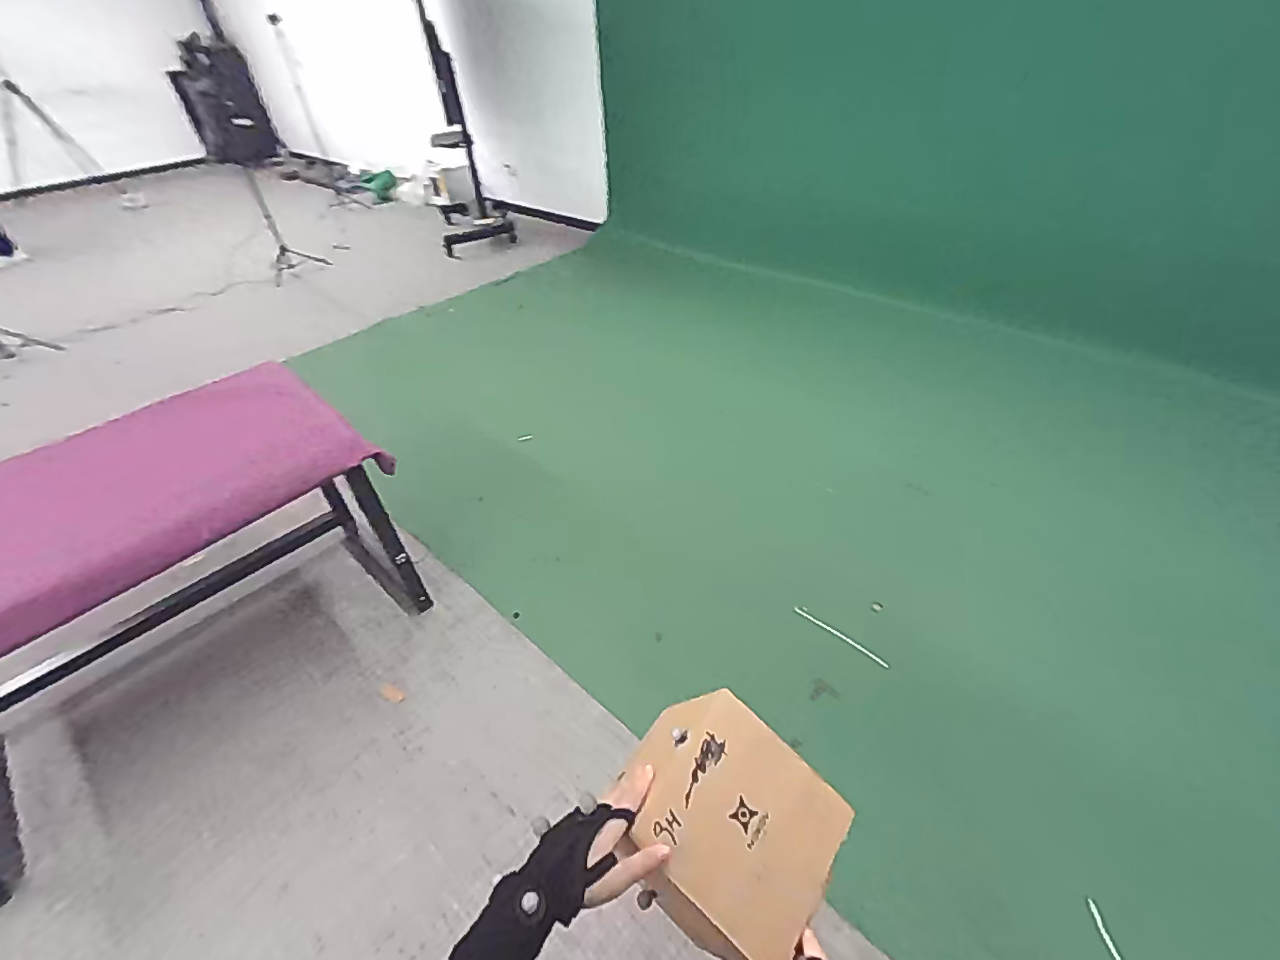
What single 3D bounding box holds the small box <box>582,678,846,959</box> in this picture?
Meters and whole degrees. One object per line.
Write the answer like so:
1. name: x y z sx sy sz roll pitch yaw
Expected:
1. small box: 0.068 0.339 0.563 0.179 0.176 0.168 43 55 6
